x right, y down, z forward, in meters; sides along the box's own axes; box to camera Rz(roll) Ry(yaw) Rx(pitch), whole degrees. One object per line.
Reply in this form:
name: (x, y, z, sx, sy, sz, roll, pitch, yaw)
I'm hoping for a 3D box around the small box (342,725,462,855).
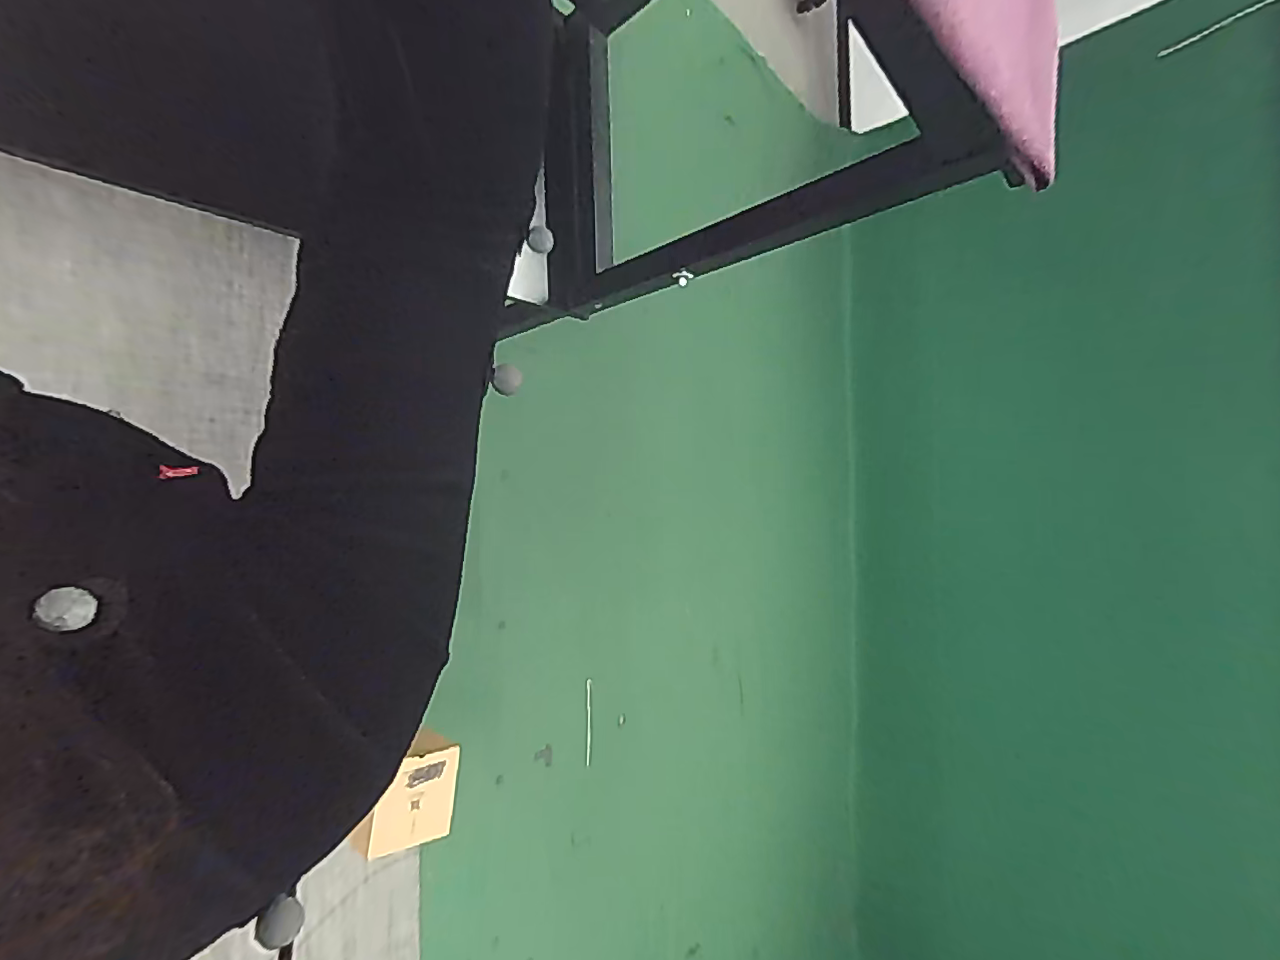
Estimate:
small box: (-0.493, 0.622, 1.117, 0.168, 0.176, 0.179, 13, 80, -45)
